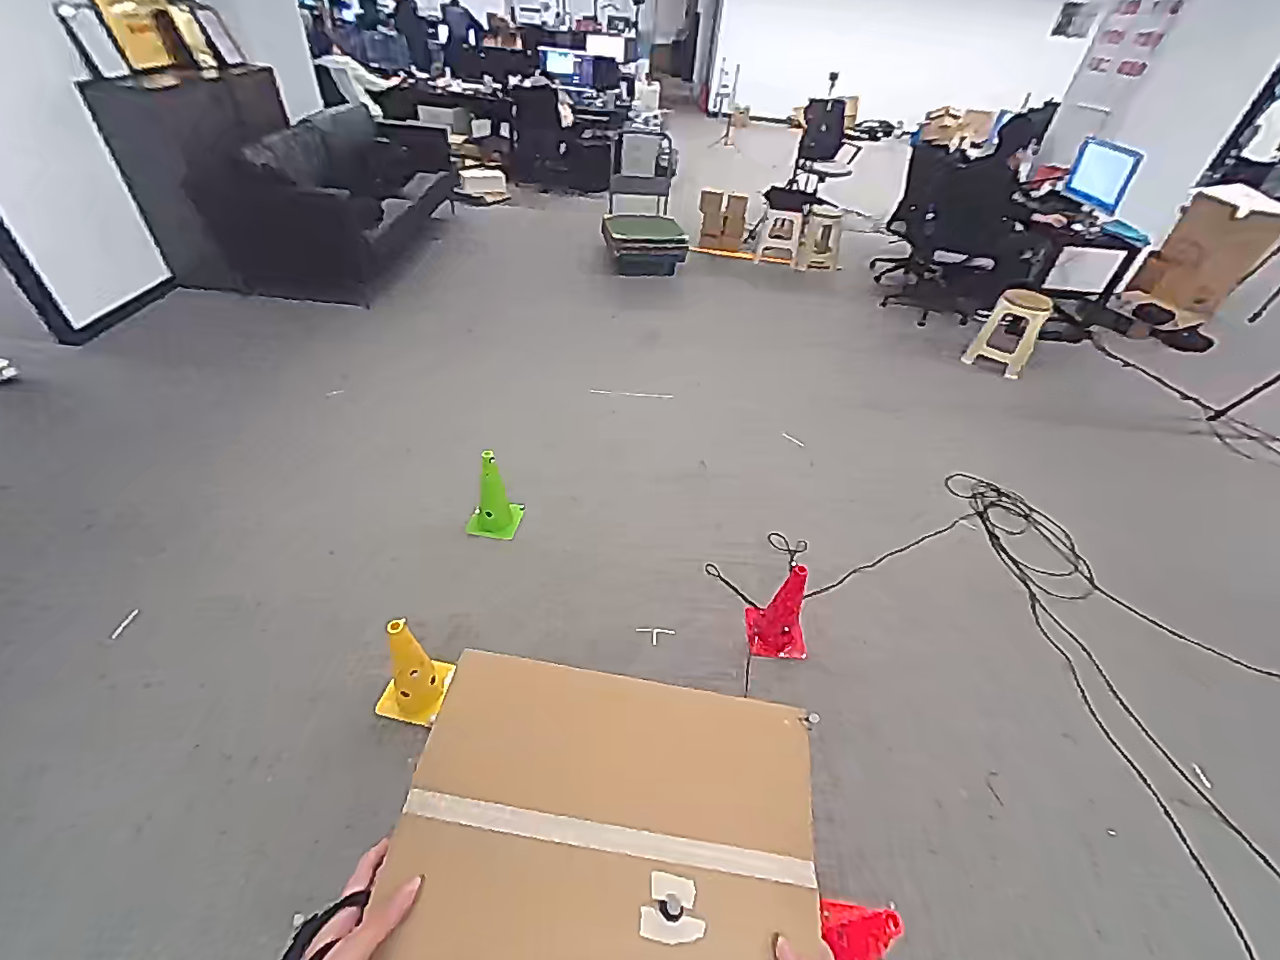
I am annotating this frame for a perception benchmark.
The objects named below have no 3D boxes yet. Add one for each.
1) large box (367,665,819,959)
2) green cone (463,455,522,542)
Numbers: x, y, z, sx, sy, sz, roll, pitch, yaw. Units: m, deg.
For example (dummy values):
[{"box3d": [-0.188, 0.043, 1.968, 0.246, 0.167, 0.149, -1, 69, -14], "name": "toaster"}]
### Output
[{"box3d": [-0.040, 0.454, 0.644, 0.408, 0.320, 0.320, 9, 51, 1], "name": "large box"}, {"box3d": [-0.594, 0.047, 2.120, 0.200, 0.368, 0.202, 8, 43, 3], "name": "green cone"}]
